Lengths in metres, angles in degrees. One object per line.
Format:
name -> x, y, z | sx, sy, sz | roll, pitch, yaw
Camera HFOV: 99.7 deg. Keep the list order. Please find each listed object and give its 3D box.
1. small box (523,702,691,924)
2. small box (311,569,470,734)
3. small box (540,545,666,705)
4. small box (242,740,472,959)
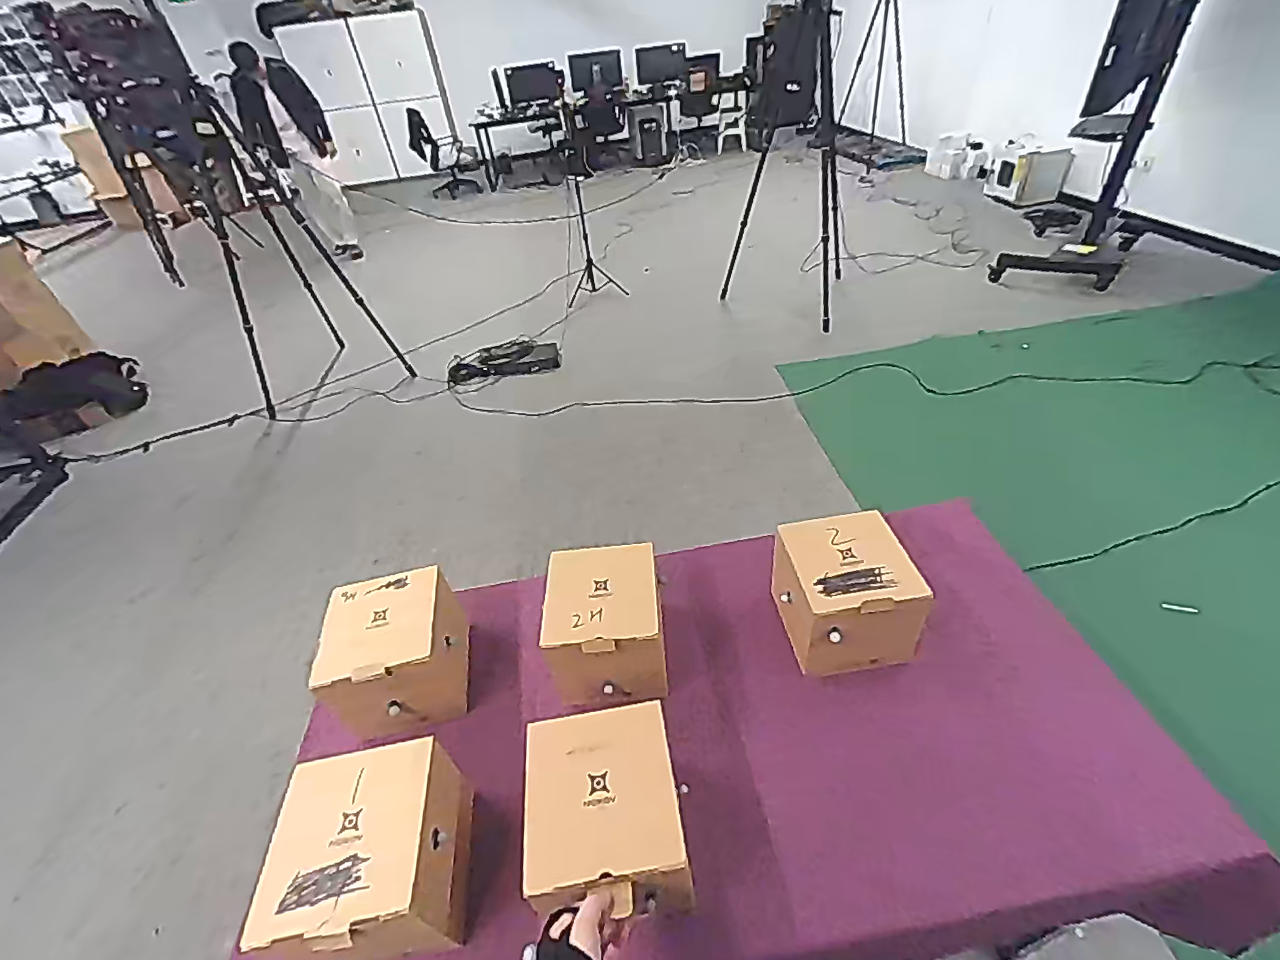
small box -> -0.036, 0.399, 0.644 | 0.168, 0.176, 0.179 | -9, 39, -2
small box -> -0.373, 0.273, 0.847 | 0.168, 0.176, 0.179 | -12, 41, -6
small box -> -0.050, 0.226, 0.846 | 0.168, 0.176, 0.179 | -6, 41, 3
small box -> -0.307, 0.444, 0.636 | 0.168, 0.176, 0.179 | -11, 39, -3
